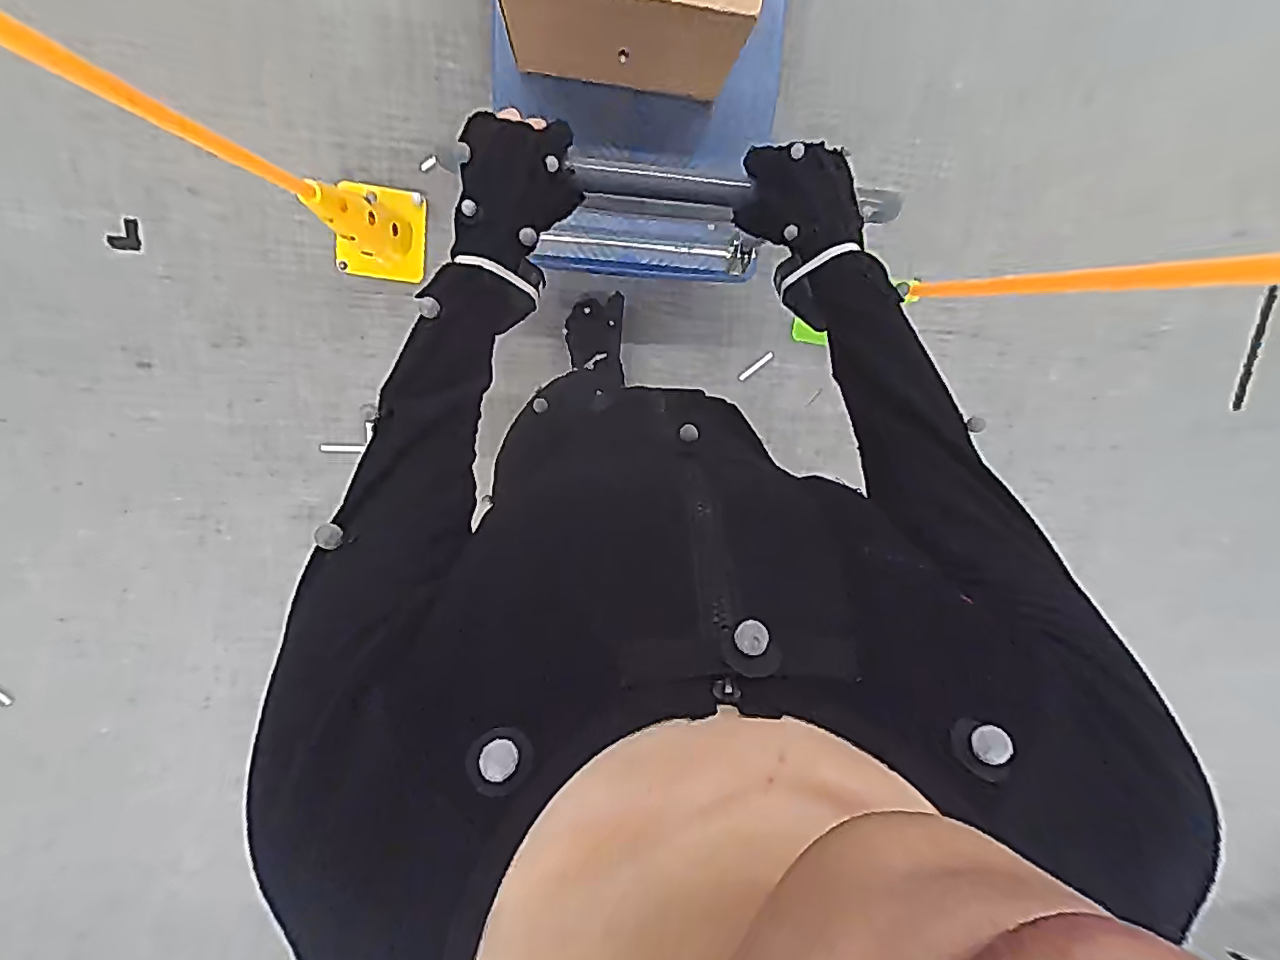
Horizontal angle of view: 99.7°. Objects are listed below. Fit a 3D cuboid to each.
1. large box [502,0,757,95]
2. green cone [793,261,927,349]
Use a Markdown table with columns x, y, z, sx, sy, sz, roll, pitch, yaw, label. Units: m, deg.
| x | y | z | sx | sy | sz | roll | pitch | yaw | label |
| --- | --- | --- | --- | --- | --- | --- | --- | --- | --- |
| -0.015 | -0.912 | 0.920 | 0.408 | 0.320 | 0.320 | 5 | 103 | -6 | large box |
| 0.526 | -0.414 | 1.242 | 0.202 | 0.368 | 0.200 | 7 | 103 | -8 | green cone |
